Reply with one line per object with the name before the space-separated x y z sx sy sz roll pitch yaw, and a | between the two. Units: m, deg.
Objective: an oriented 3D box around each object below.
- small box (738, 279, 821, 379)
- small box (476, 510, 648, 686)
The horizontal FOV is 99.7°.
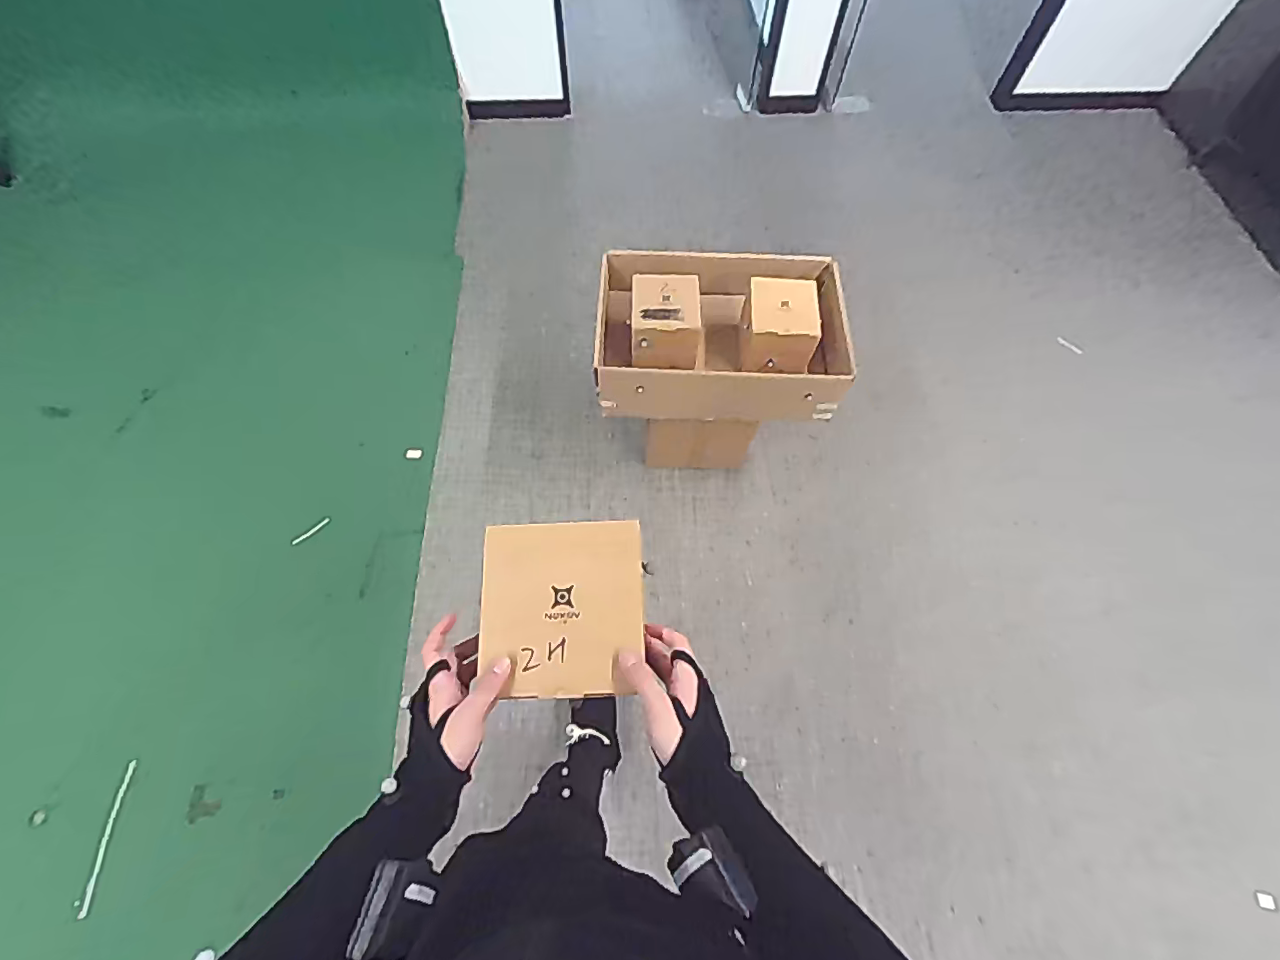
small box | 0.348 -0.383 1.380 0.168 0.176 0.179 4 64 0
small box | -0.076 0.142 0.623 0.168 0.176 0.179 -2 71 2
